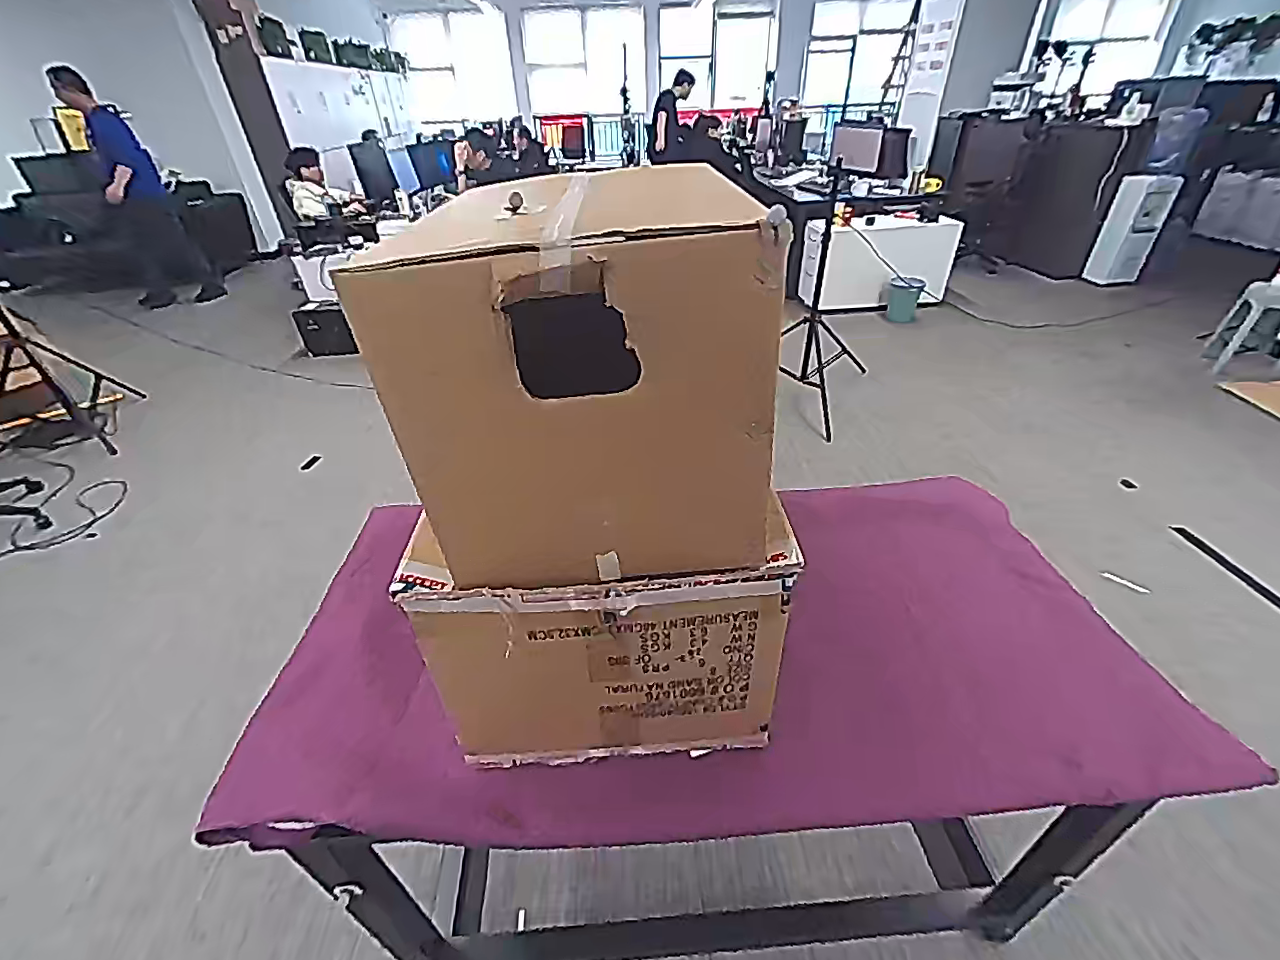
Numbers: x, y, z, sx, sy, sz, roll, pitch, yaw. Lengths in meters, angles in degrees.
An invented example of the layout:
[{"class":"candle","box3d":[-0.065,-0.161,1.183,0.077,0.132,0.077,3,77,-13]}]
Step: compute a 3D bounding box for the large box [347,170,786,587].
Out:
[{"class":"large box","box3d":[-0.050,-0.141,0.613,0.320,0.320,0.408,-7,36,2]}]
